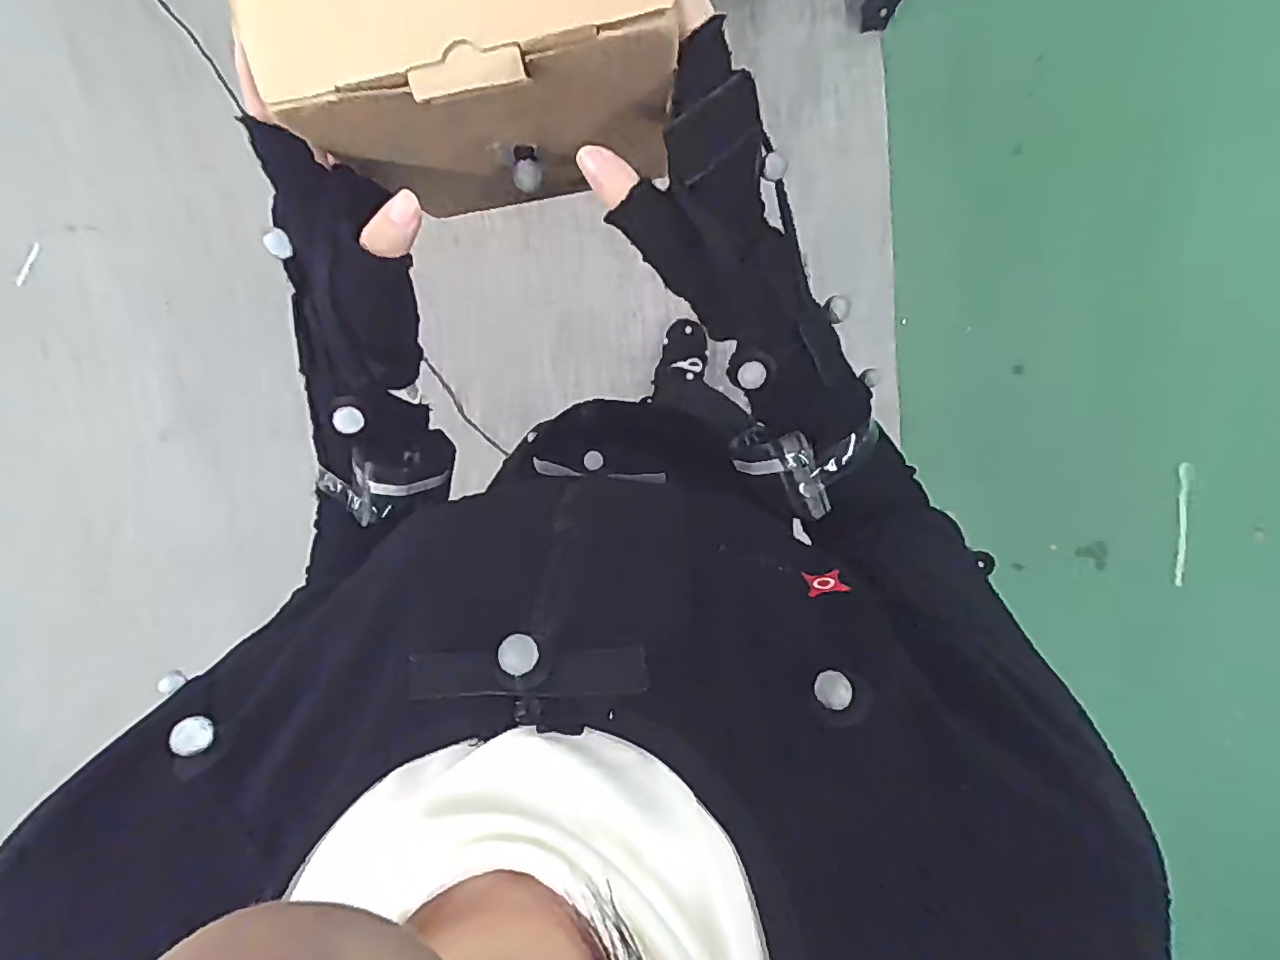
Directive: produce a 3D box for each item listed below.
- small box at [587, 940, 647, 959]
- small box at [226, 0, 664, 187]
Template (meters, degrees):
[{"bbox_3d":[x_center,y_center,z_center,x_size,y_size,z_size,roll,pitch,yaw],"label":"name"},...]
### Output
[{"bbox_3d":[-0.065,1.453,1.534,0.168,0.176,0.179,-7,100,5],"label":"small box"},{"bbox_3d":[-0.079,-0.262,0.263,0.168,0.176,0.179,-7,103,4],"label":"small box"}]
